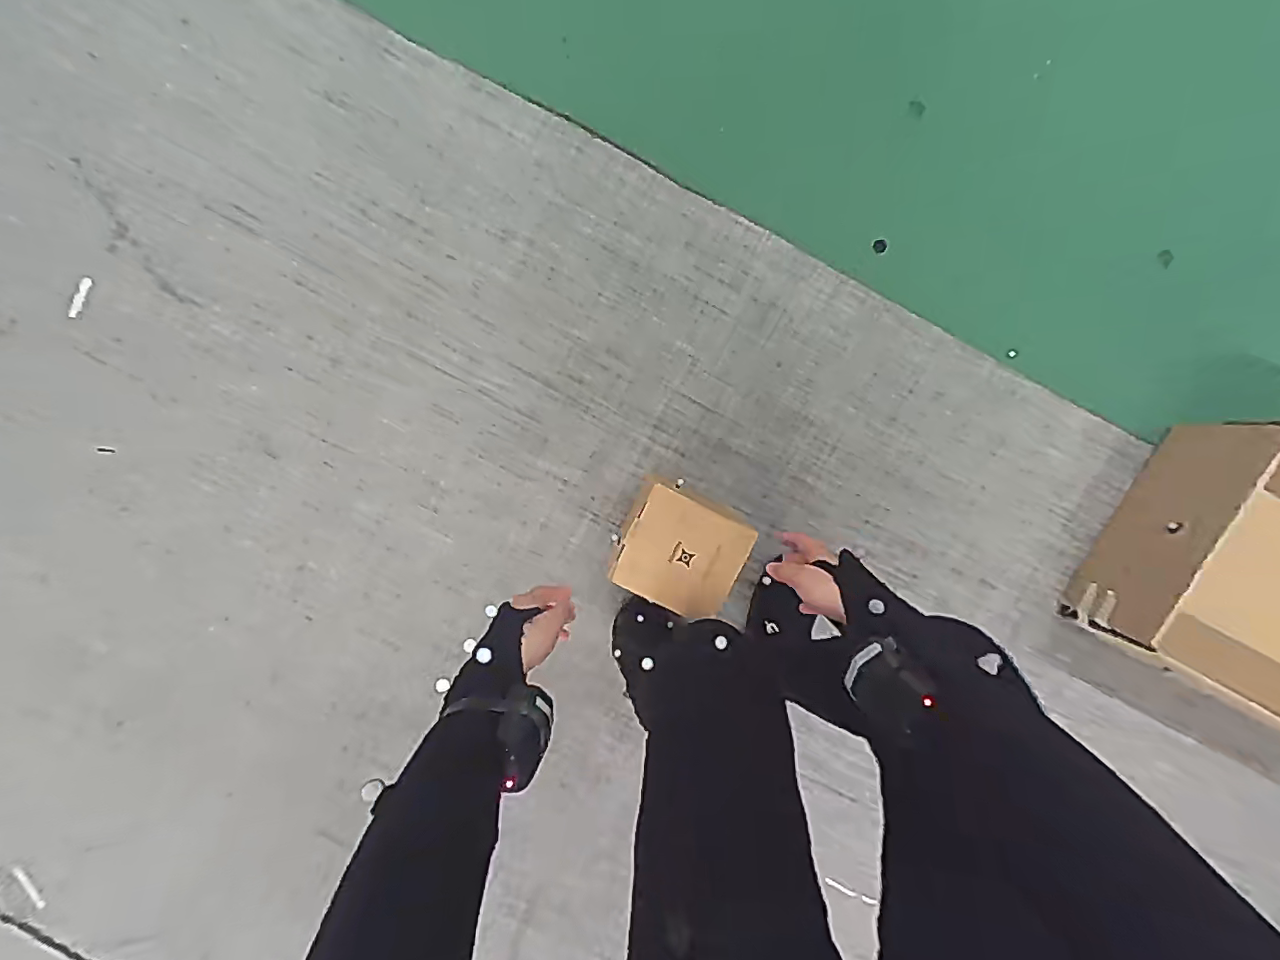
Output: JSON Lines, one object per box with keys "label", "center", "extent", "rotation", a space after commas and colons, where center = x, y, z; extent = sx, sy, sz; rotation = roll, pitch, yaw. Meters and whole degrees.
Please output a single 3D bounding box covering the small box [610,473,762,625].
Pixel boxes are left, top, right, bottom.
{"label": "small box", "center": [0.065, 0.099, 0.869], "extent": [0.179, 0.176, 0.168], "rotation": [25, 97, -6]}
